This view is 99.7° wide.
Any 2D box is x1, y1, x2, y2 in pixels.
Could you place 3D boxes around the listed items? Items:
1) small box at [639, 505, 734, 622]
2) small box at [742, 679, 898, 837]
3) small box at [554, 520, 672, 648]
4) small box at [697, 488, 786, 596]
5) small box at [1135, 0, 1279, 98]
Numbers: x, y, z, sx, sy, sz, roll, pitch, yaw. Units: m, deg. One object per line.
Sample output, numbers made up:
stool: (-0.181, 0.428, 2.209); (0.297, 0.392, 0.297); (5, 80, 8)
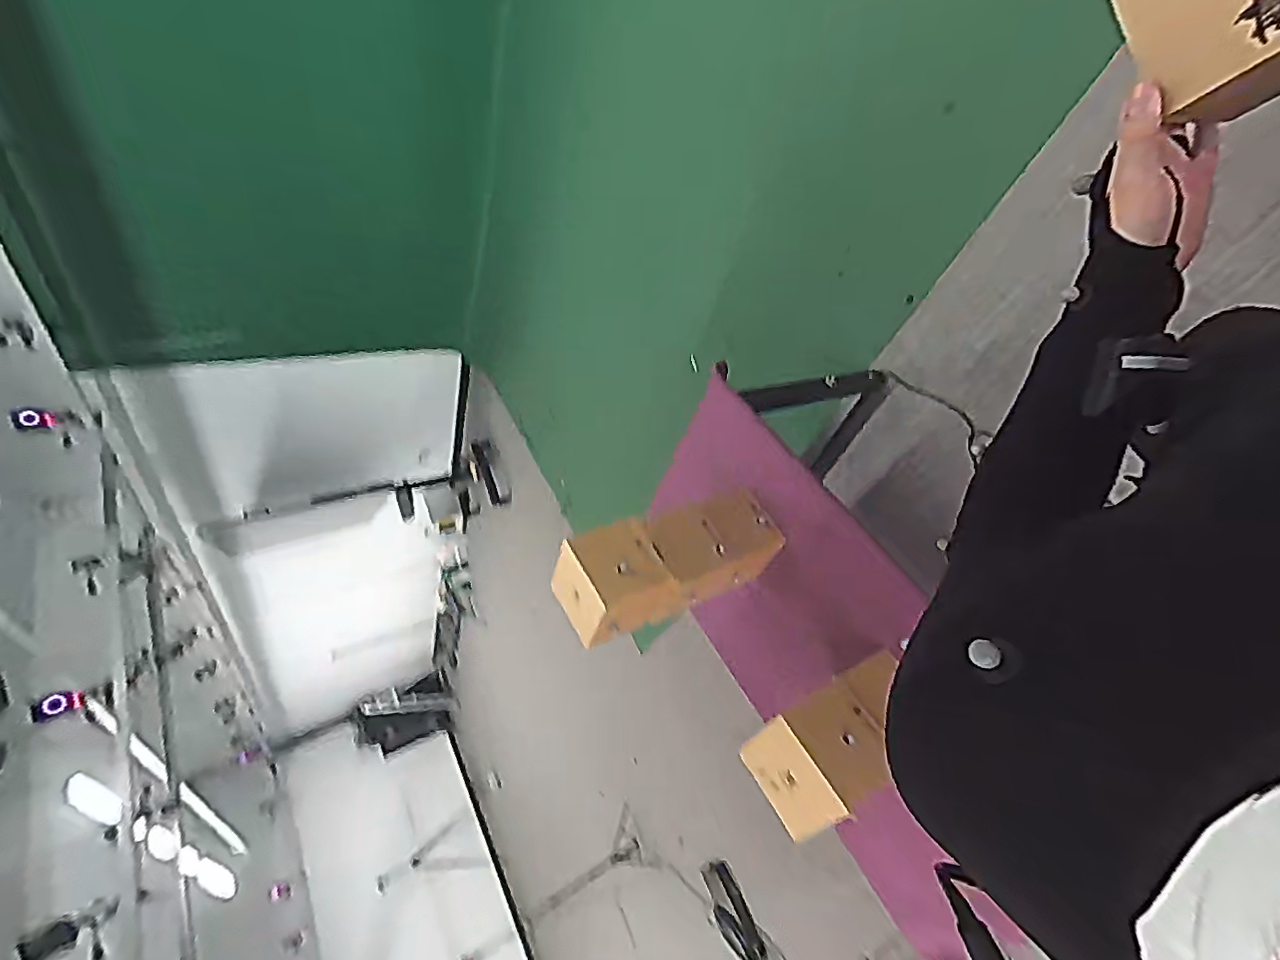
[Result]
small box: (0.082, 0.179, 1.198); (0.168, 0.176, 0.179); (55, 143, 27)
small box: (0.320, 0.485, 0.957); (0.168, 0.176, 0.179); (54, 140, 30)
small box: (-0.055, 0.207, 1.116); (0.168, 0.176, 0.179); (53, 143, 28)
small box: (0.213, 0.145, 1.290); (0.168, 0.176, 0.179); (55, 142, 26)
small box: (0.409, -0.360, 0.313); (0.168, 0.176, 0.179); (-17, 94, 59)
